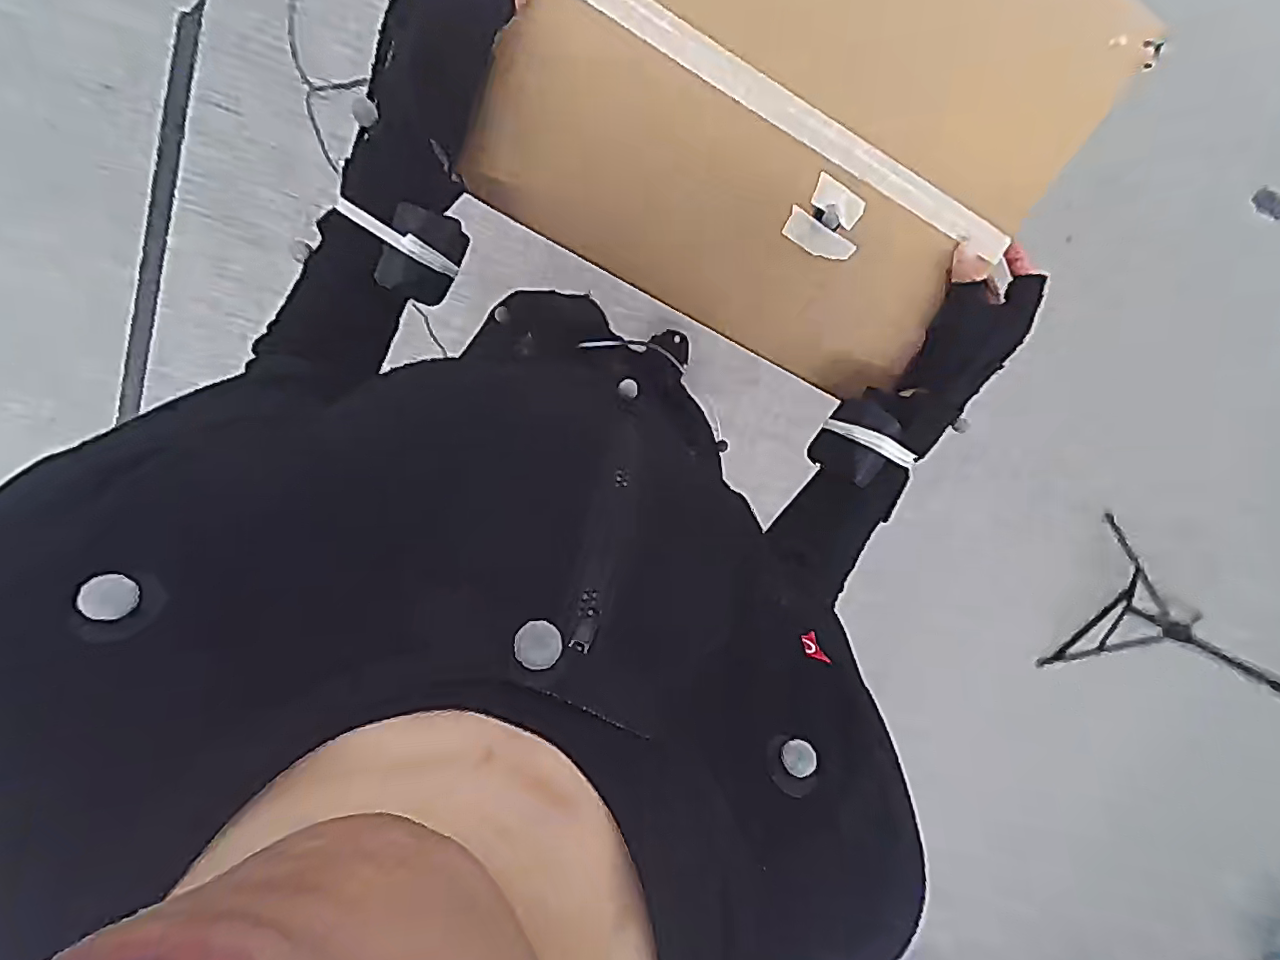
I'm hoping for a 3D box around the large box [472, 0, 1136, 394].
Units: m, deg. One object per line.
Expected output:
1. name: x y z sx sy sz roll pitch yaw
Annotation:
1. large box: 0.107 -0.344 0.536 0.408 0.320 0.320 25 116 -12
